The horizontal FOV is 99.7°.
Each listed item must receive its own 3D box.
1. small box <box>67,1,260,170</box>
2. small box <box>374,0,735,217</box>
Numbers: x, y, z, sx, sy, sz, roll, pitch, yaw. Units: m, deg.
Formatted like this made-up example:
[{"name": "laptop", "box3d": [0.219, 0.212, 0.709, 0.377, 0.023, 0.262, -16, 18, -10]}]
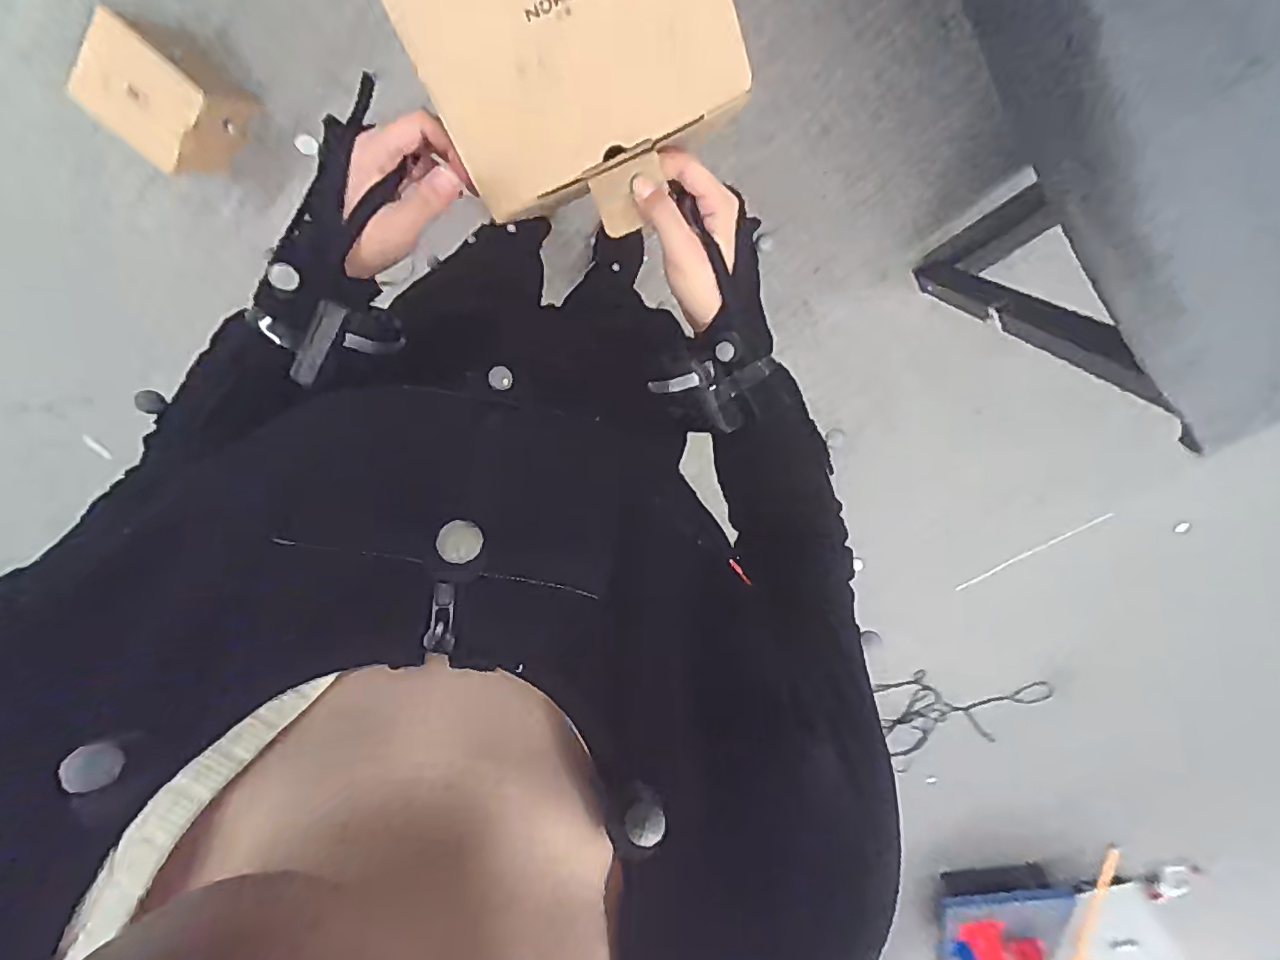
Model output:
[{"name": "small box", "box3d": [-0.845, -0.698, 0.978, 0.168, 0.176, 0.179, -41, 113, 20]}, {"name": "small box", "box3d": [-0.052, -0.294, 0.344, 0.168, 0.176, 0.179, -21, 116, 11]}]
